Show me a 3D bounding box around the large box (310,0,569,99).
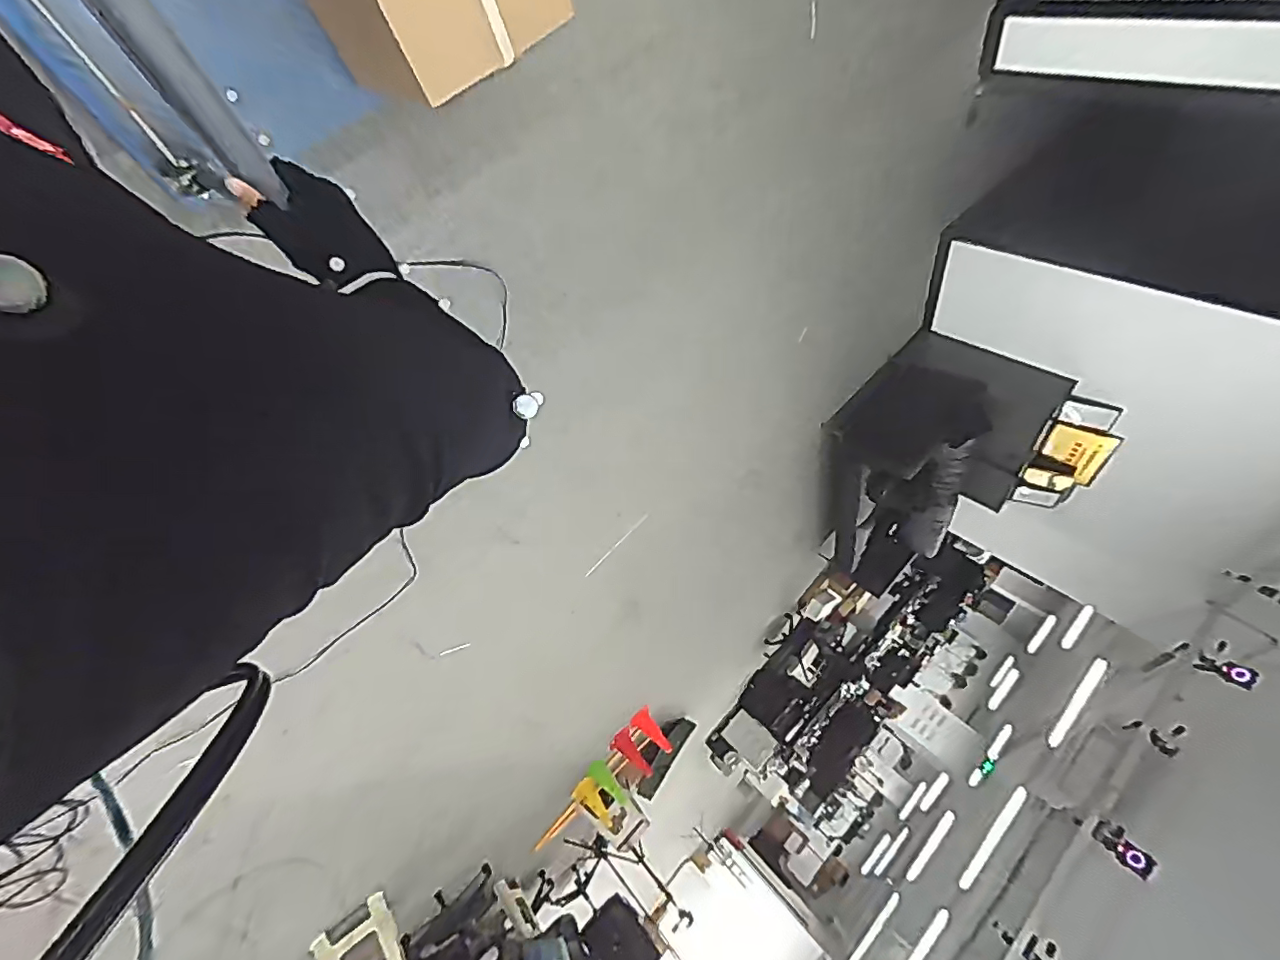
[{"bbox_3d":[-0.374,-0.872,0.803,0.320,0.320,0.408,-43,144,-14],"label":"large box"}]
